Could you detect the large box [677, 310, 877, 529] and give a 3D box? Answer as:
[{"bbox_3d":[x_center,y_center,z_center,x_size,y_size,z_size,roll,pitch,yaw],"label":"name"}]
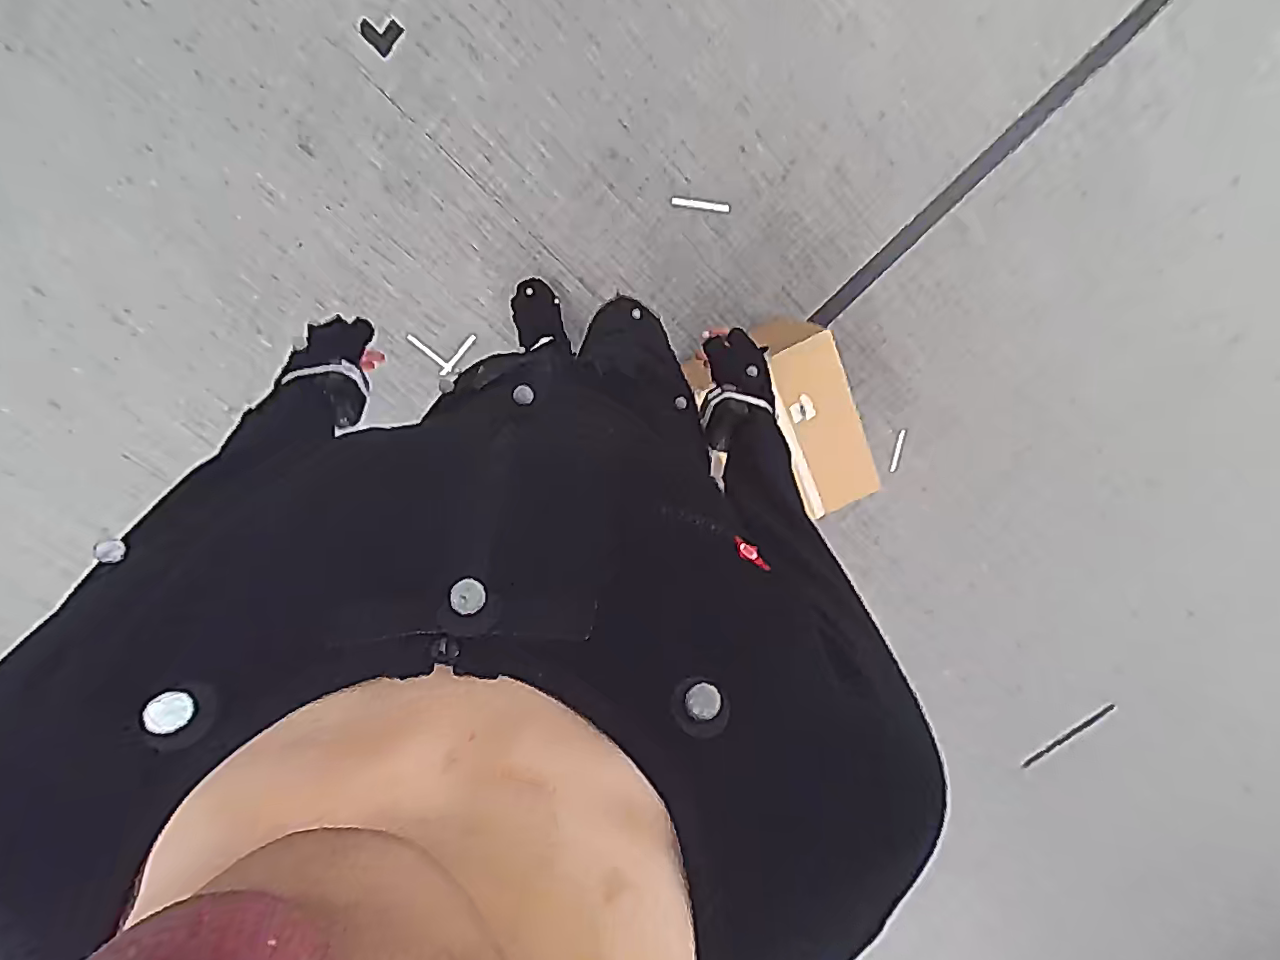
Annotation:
[{"bbox_3d":[0.323,-0.160,1.344,0.320,0.320,0.408,-26,111,6],"label":"large box"}]
